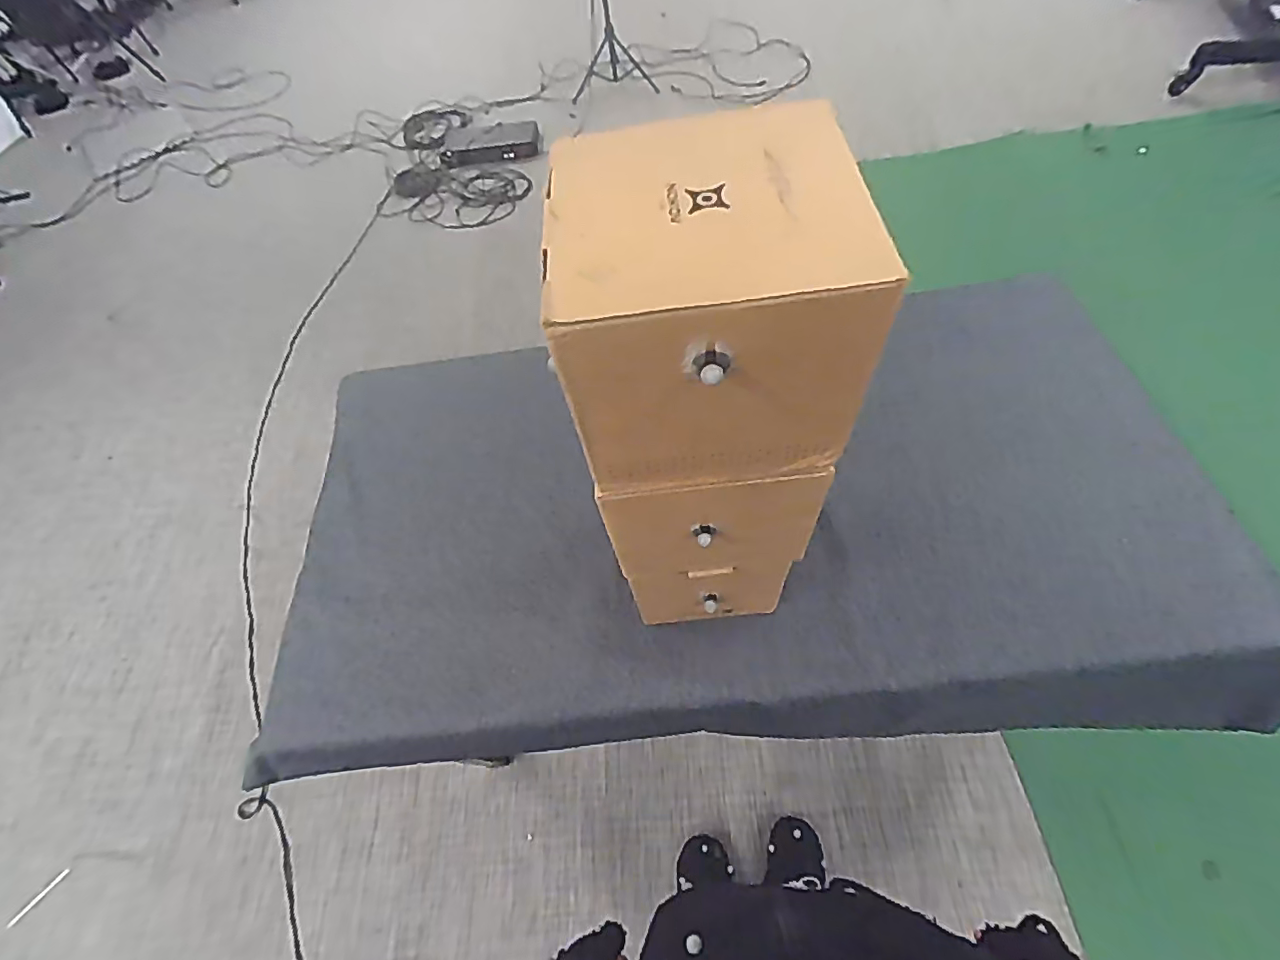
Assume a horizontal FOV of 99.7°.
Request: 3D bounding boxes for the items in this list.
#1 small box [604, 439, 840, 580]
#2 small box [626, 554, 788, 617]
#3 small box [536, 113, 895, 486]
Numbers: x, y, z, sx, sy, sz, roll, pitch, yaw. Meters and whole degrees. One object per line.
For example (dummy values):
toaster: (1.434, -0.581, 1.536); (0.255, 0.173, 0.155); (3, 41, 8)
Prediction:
small box: (0.059, -0.020, 0.502); (0.179, 0.176, 0.168); (-8, 59, 1)
small box: (0.071, 0.057, 0.647); (0.168, 0.176, 0.179); (-7, 59, 3)
small box: (0.040, -0.107, 0.367); (0.179, 0.176, 0.168); (-6, 60, 3)
